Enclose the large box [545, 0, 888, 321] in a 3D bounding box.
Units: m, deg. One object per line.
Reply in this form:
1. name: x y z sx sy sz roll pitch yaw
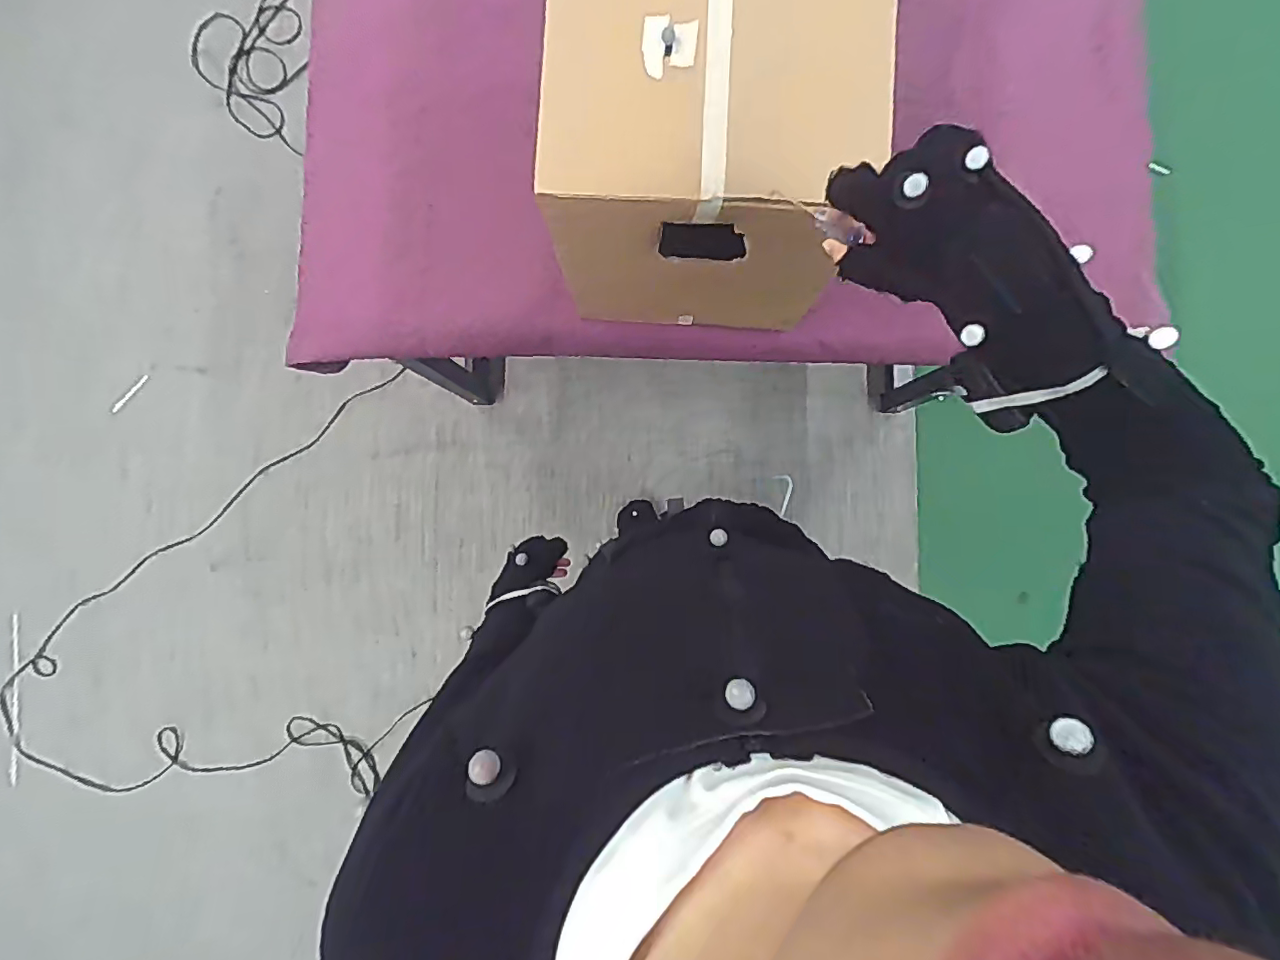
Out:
1. large box: 0.074 -0.442 0.645 0.320 0.320 0.408 4 88 1
